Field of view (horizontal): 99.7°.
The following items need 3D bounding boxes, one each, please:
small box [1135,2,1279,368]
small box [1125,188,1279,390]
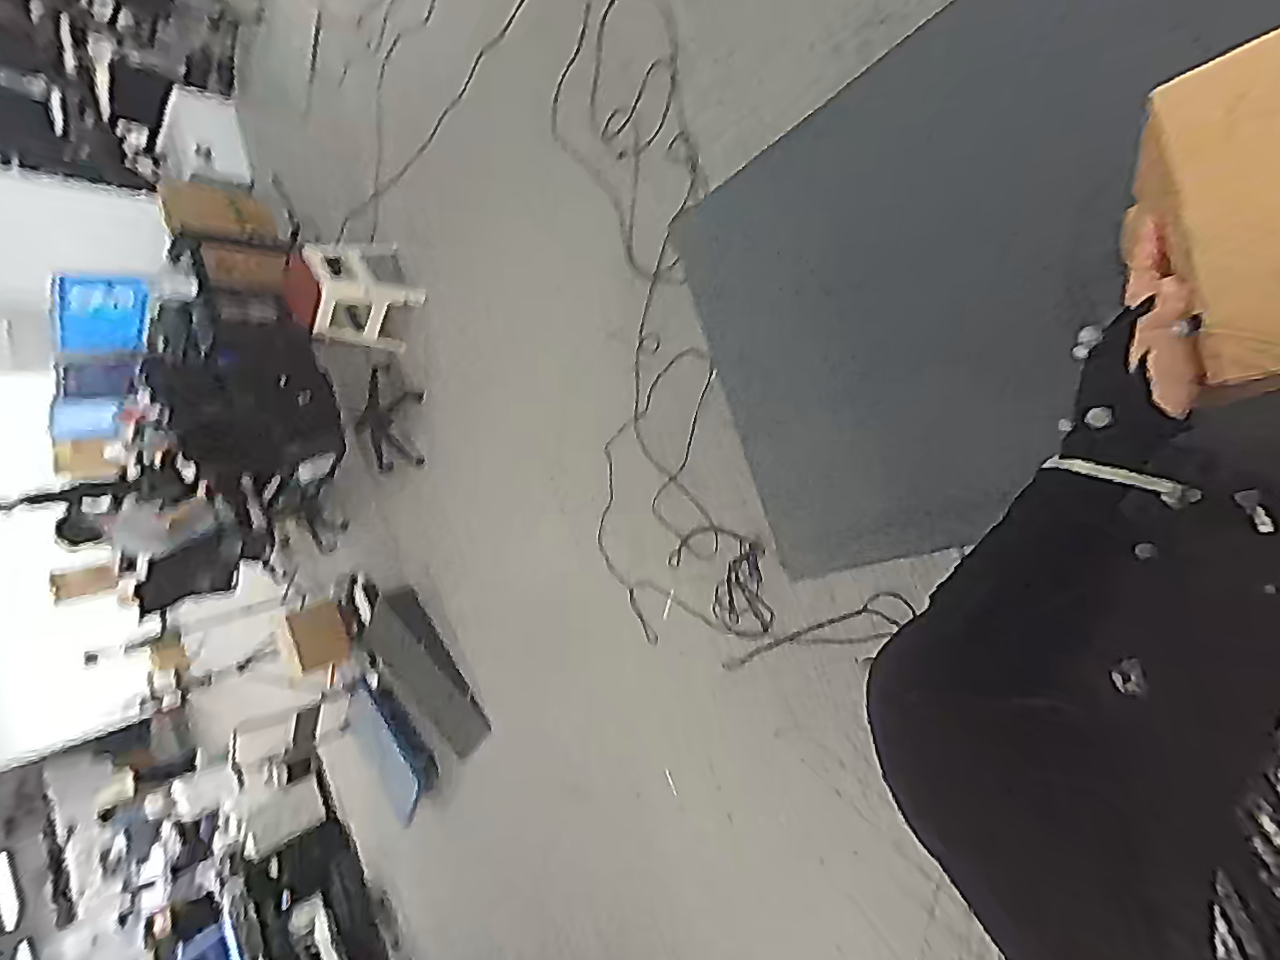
[{"bbox_3d":[0.416,-0.174,0.311,0.168,0.176,0.179,-15,88,41],"label":"small box"},{"bbox_3d":[0.525,-0.183,0.435,0.168,0.176,0.179,-22,84,41],"label":"small box"}]
